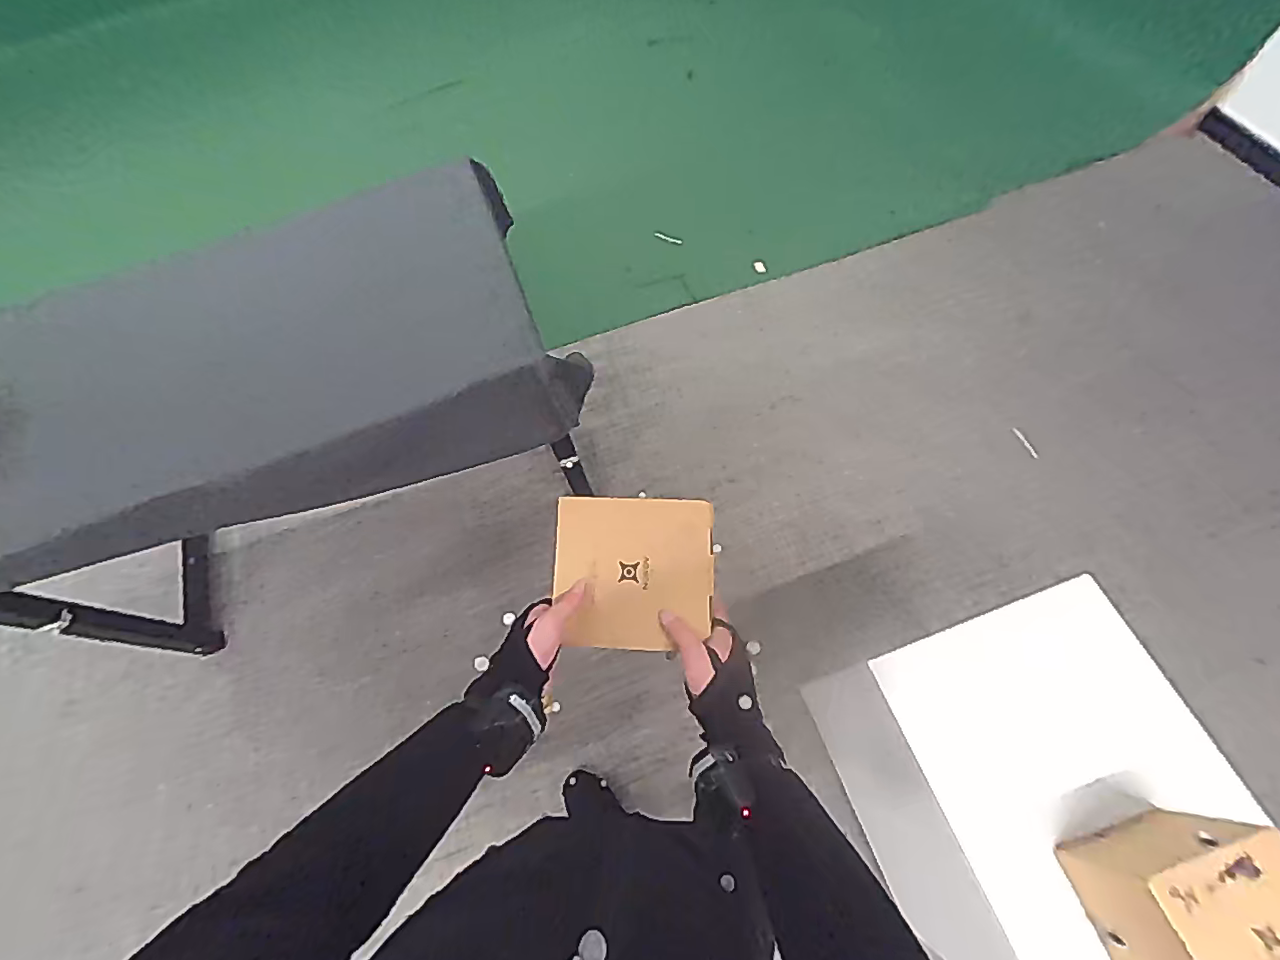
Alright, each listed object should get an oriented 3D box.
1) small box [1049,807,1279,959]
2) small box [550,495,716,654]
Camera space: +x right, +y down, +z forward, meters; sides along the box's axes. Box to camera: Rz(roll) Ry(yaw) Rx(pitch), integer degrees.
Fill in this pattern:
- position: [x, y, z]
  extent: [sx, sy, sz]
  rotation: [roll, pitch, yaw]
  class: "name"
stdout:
- position: [0.647, 0.514, 0.633]
  extent: [0.168, 0.176, 0.179]
  rotation: [-17, 67, -5]
  class: "small box"
- position: [-0.002, 0.115, 0.660]
  extent: [0.179, 0.176, 0.168]
  rotation: [1, 77, 4]
  class: "small box"
